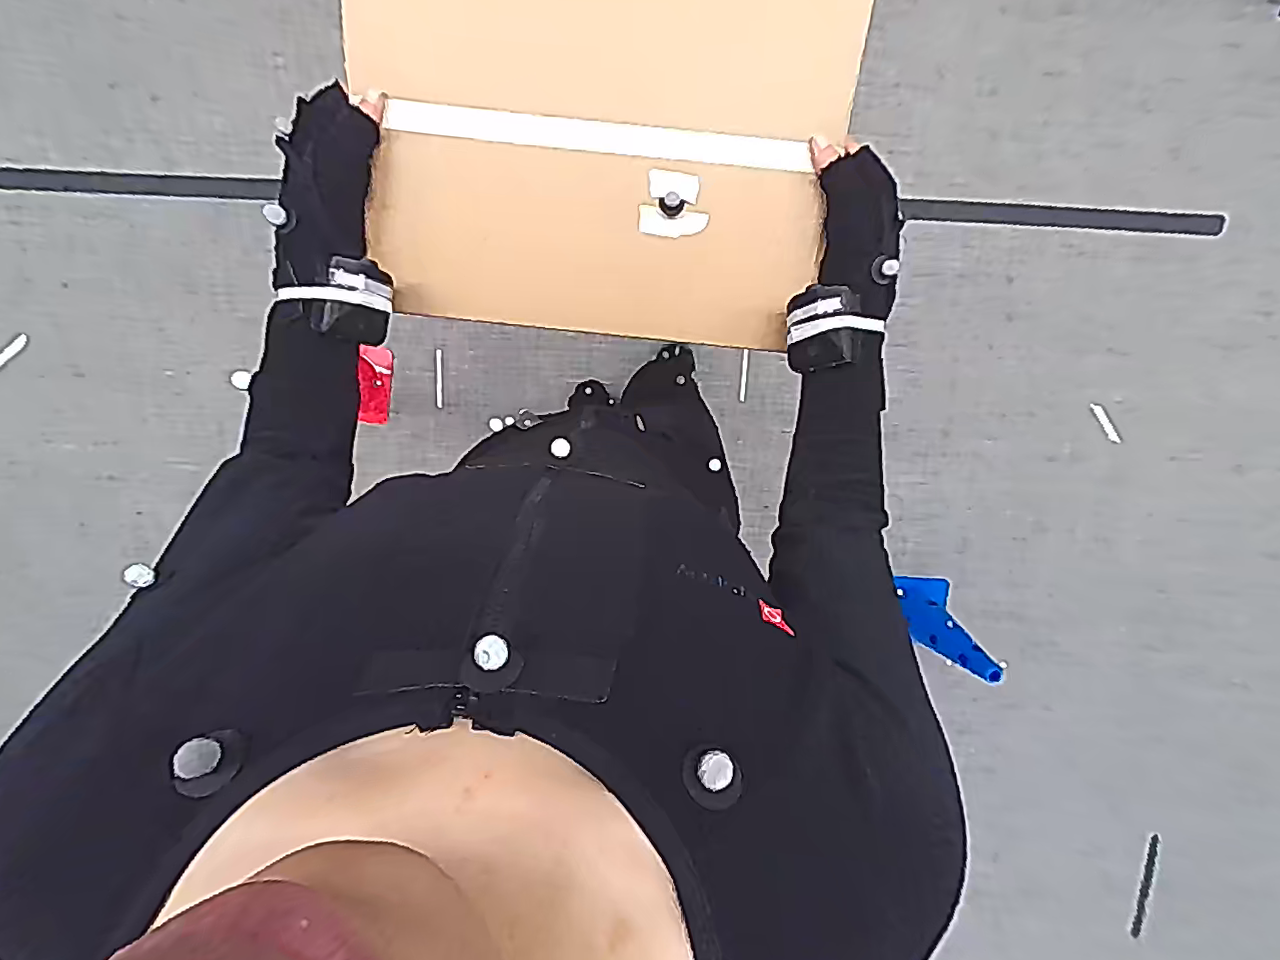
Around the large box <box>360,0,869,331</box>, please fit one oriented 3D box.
[{"bbox_3d":[-0.029,-0.345,0.589,0.408,0.320,0.320,5,110,-2],"label":"large box"}]

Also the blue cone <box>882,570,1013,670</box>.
[{"bbox_3d":[0.808,0.382,1.404,0.192,0.380,0.193,5,101,-4],"label":"blue cone"}]

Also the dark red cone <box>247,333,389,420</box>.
[{"bbox_3d":[-0.733,-0.232,1.209,0.201,0.394,0.202,7,100,-4],"label":"dark red cone"}]
